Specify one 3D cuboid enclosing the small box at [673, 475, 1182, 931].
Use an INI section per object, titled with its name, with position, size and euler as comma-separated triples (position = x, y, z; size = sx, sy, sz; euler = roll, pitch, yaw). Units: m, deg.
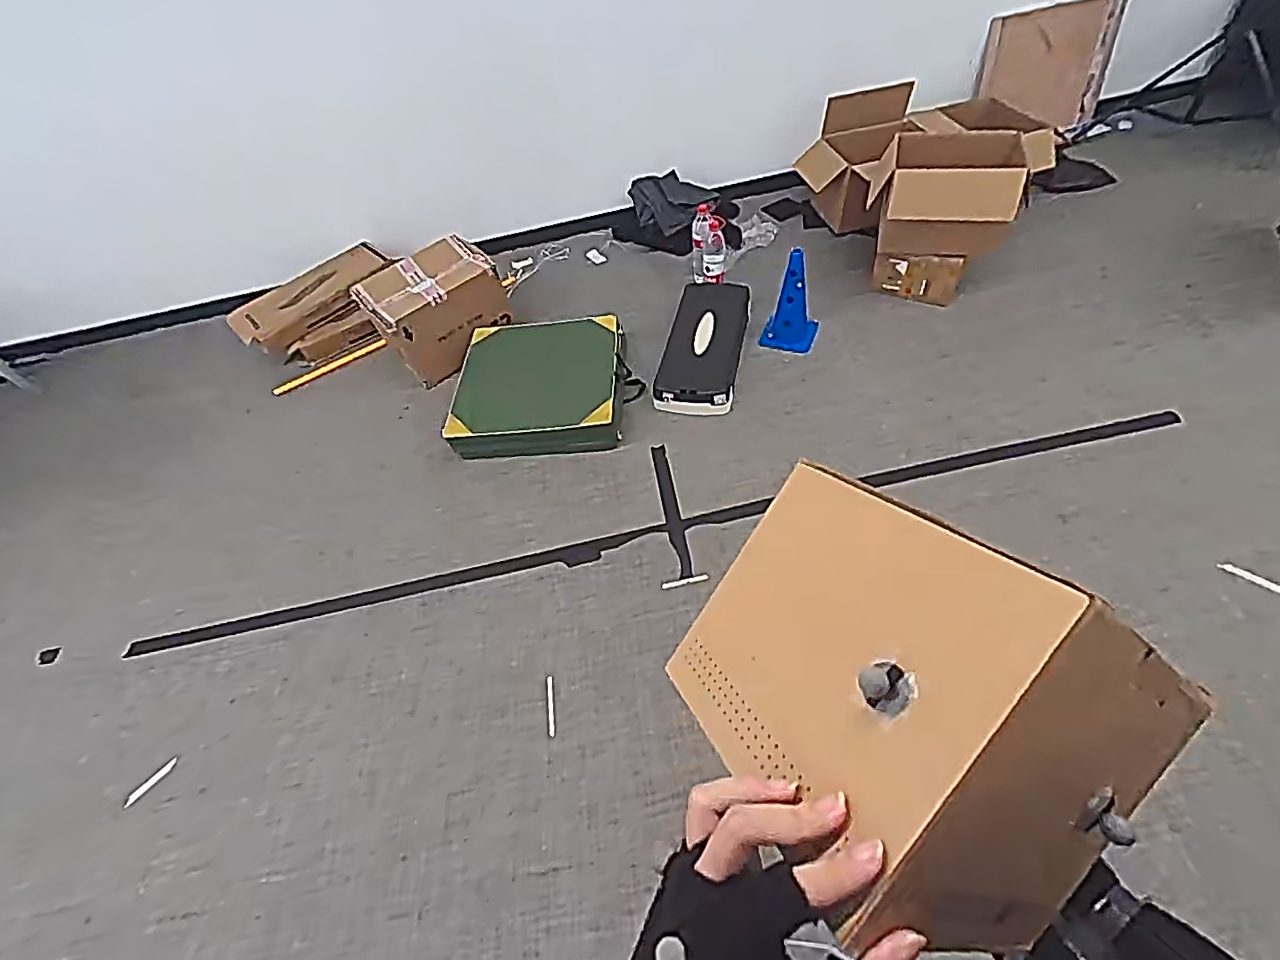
[small box]
position = 0.151, 0.126, 0.330
size = 0.176, 0.168, 0.179
euler = -59, 27, 5
